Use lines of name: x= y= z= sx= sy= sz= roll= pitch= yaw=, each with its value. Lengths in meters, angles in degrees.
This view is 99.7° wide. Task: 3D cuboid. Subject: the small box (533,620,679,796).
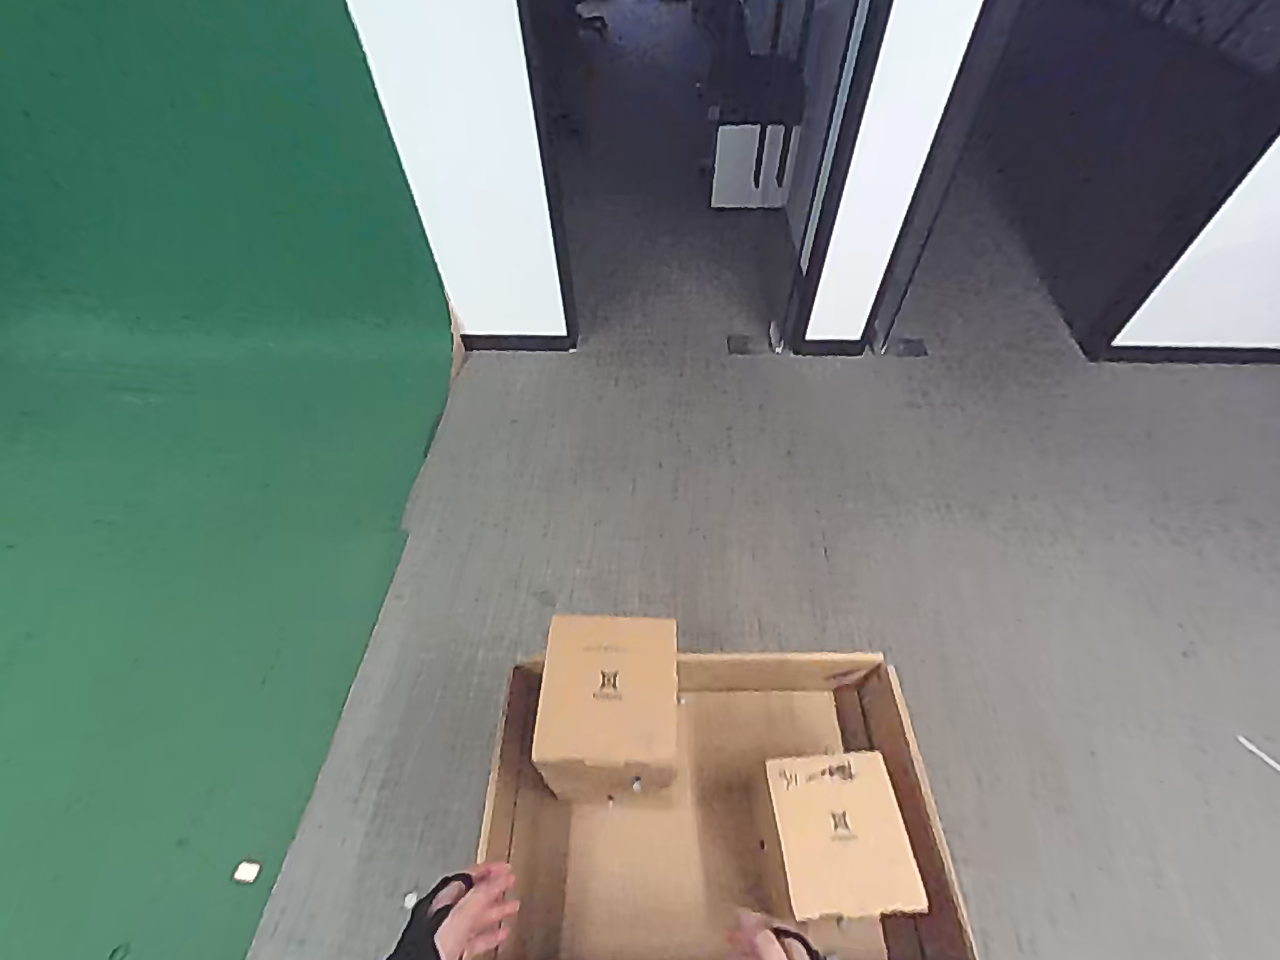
small box: x=-0.034 y=0.305 z=0.716 sx=0.168 sy=0.176 sz=0.179 roll=3 pitch=51 yaw=2
